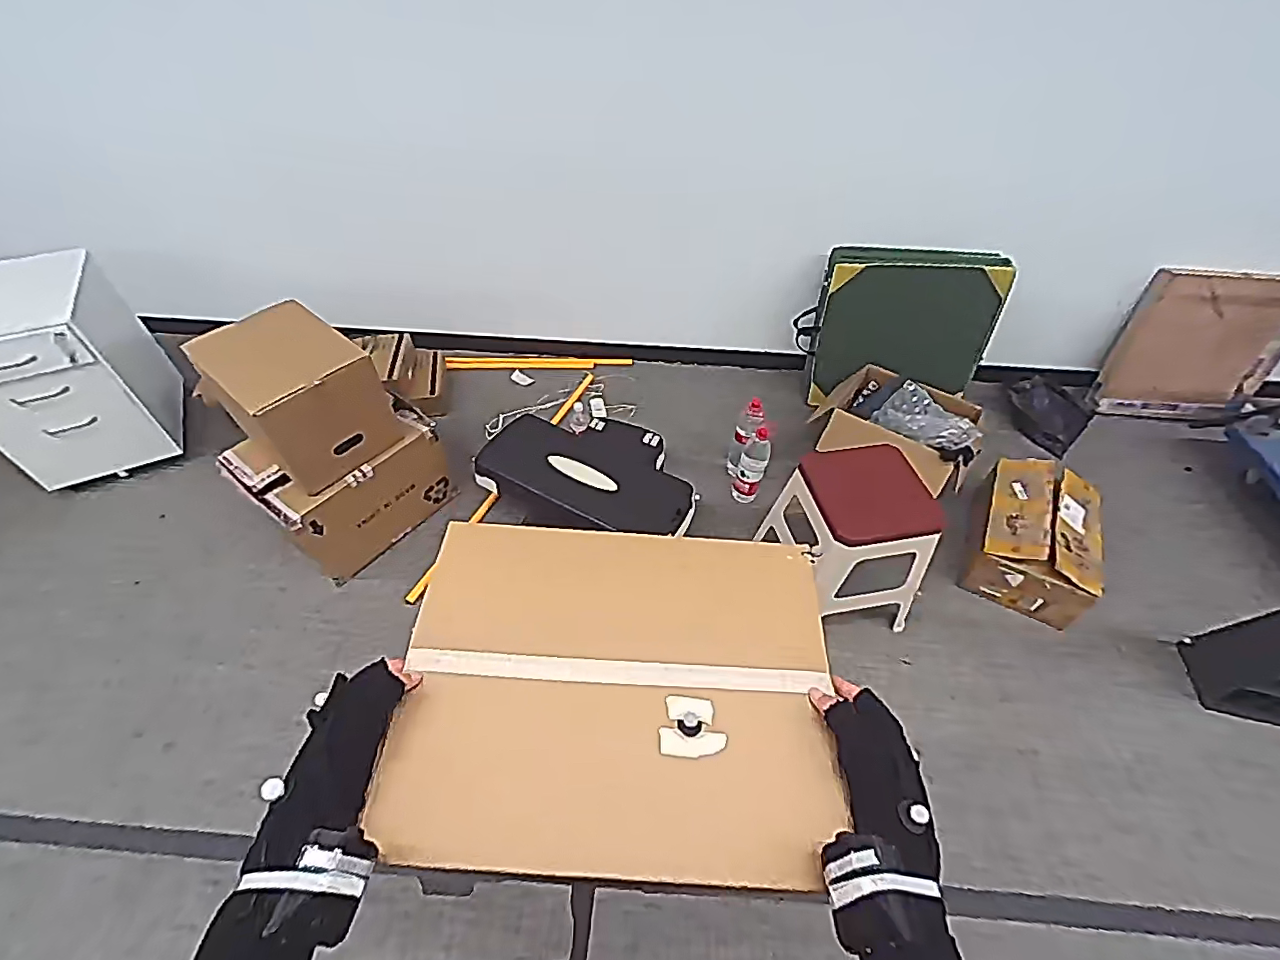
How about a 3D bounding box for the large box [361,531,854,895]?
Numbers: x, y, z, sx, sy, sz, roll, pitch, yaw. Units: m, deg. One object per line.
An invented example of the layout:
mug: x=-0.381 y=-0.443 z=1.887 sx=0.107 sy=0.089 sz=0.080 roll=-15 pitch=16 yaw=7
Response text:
large box: x=-0.028 y=0.282 z=0.636 sx=0.408 sy=0.320 sz=0.320 roll=5 pitch=52 yaw=0
